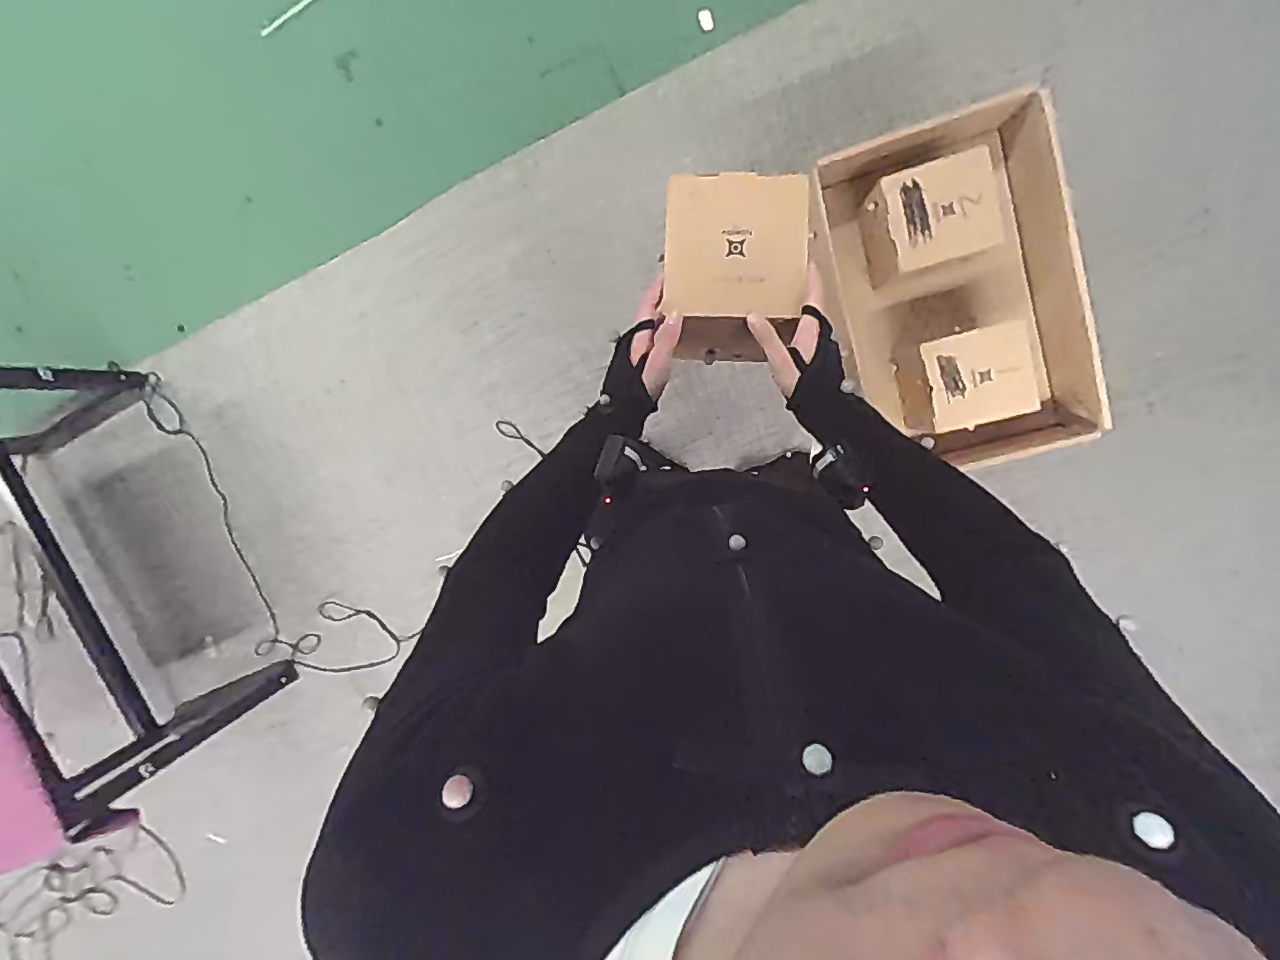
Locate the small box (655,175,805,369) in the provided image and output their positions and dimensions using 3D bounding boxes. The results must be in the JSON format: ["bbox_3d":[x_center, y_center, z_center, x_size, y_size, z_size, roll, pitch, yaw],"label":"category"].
[{"bbox_3d":[0.107,-0.258,0.701,0.168,0.176,0.179,3,85,3],"label":"small box"}]
